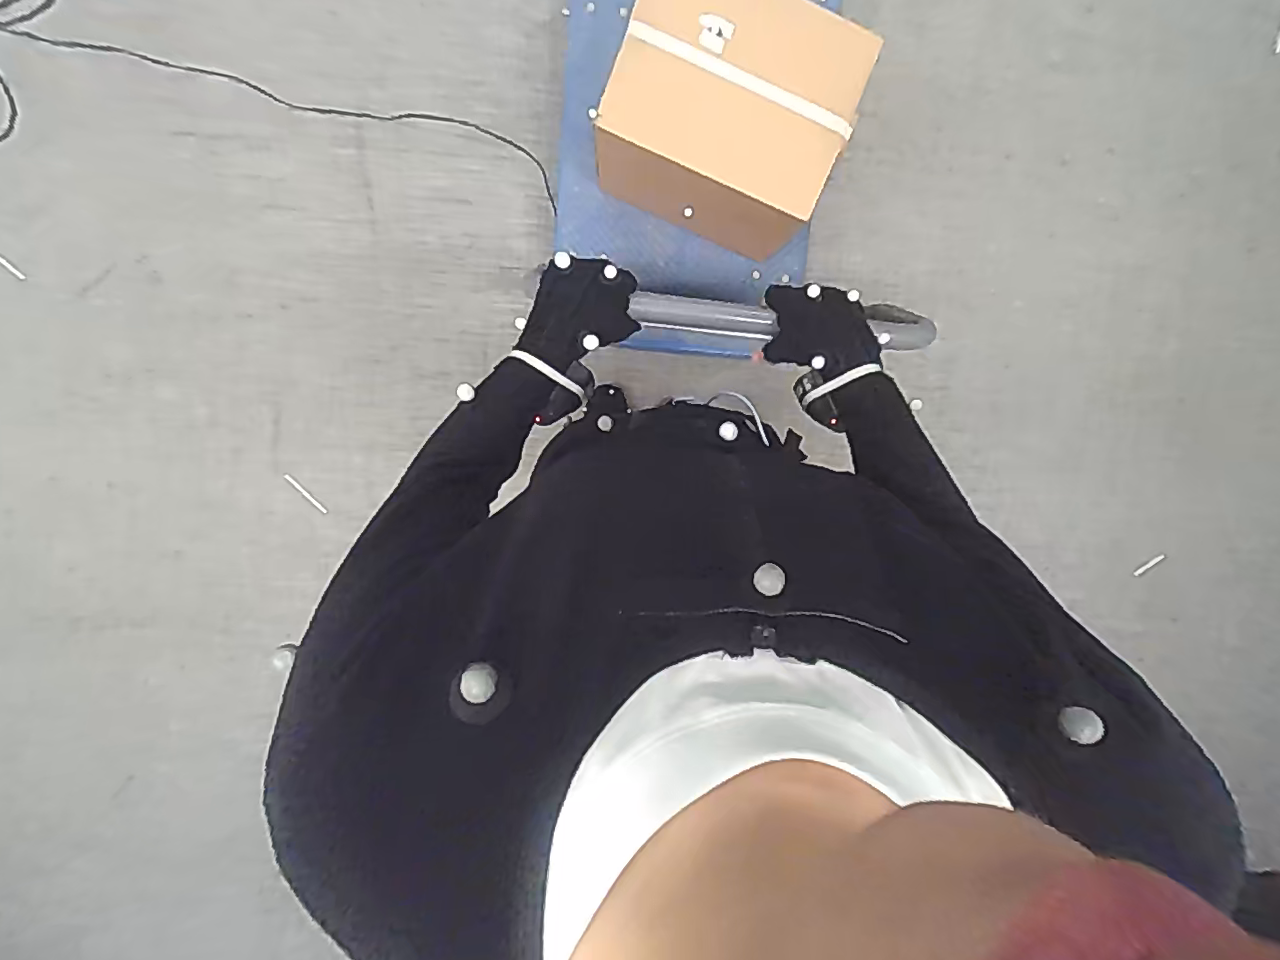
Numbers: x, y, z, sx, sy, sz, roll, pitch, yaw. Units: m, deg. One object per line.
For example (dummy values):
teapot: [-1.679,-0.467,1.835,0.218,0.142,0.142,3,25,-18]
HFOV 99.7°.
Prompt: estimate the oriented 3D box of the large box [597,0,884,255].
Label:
large box: [0.165,-0.687,1.045,0.408,0.320,0.320,22,98,-4]
